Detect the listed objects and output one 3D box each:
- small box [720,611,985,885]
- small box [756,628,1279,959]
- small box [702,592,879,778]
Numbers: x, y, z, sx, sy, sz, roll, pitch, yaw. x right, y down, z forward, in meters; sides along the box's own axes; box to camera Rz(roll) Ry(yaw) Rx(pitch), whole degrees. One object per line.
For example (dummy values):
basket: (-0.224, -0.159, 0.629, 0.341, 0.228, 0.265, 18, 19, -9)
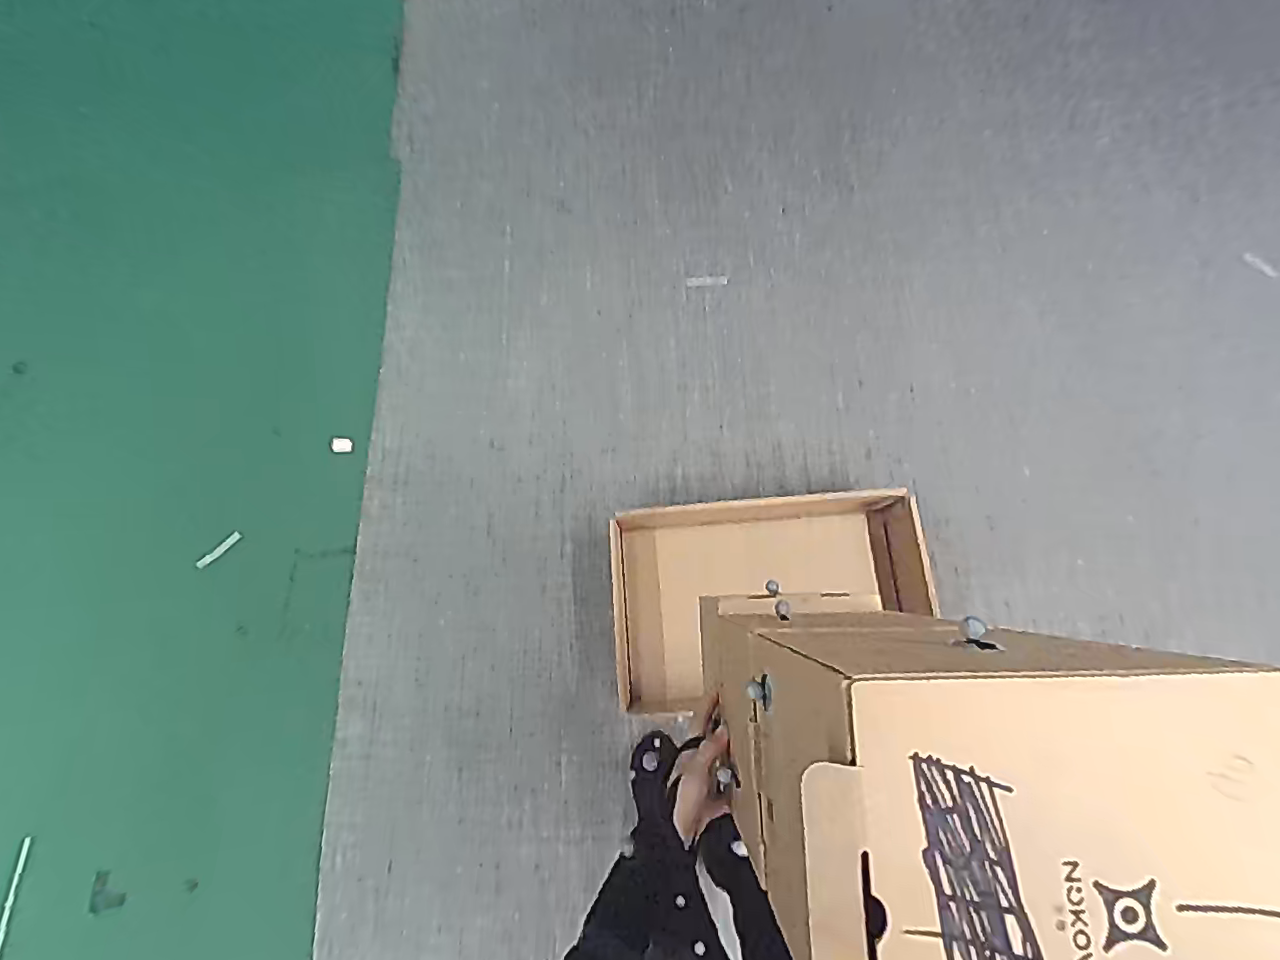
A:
small box: (0.161, 0.199, 0.446, 0.179, 0.176, 0.168, -2, 80, 1)
small box: (0.163, 0.171, 0.285, 0.179, 0.176, 0.168, -2, 80, 0)
small box: (0.162, 0.218, 0.609, 0.168, 0.176, 0.179, -2, 78, 0)
